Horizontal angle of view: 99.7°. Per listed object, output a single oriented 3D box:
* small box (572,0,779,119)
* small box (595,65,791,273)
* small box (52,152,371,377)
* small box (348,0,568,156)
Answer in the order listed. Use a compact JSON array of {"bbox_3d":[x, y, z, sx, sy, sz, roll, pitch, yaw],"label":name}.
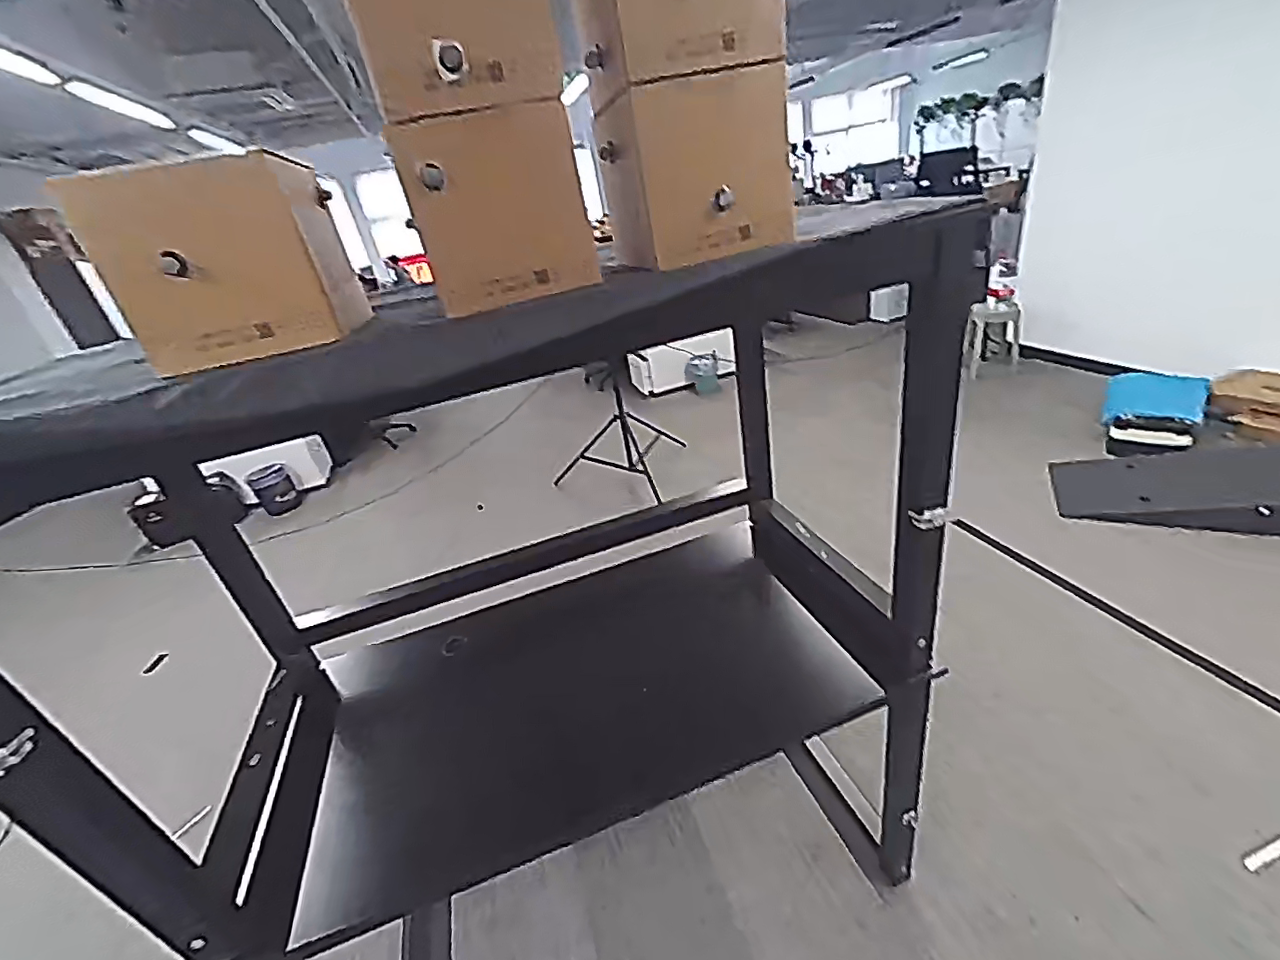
[{"bbox_3d":[0.030,-0.489,0.552,0.168,0.176,0.179,-16,28,-9],"label":"small box"},{"bbox_3d":[0.058,-0.344,0.625,0.168,0.176,0.179,-17,27,-10],"label":"small box"},{"bbox_3d":[-0.399,-0.213,0.551,0.168,0.176,0.179,-15,26,-9],"label":"small box"},{"bbox_3d":[-0.179,-0.429,0.522,0.168,0.176,0.179,-18,27,-11],"label":"small box"}]
